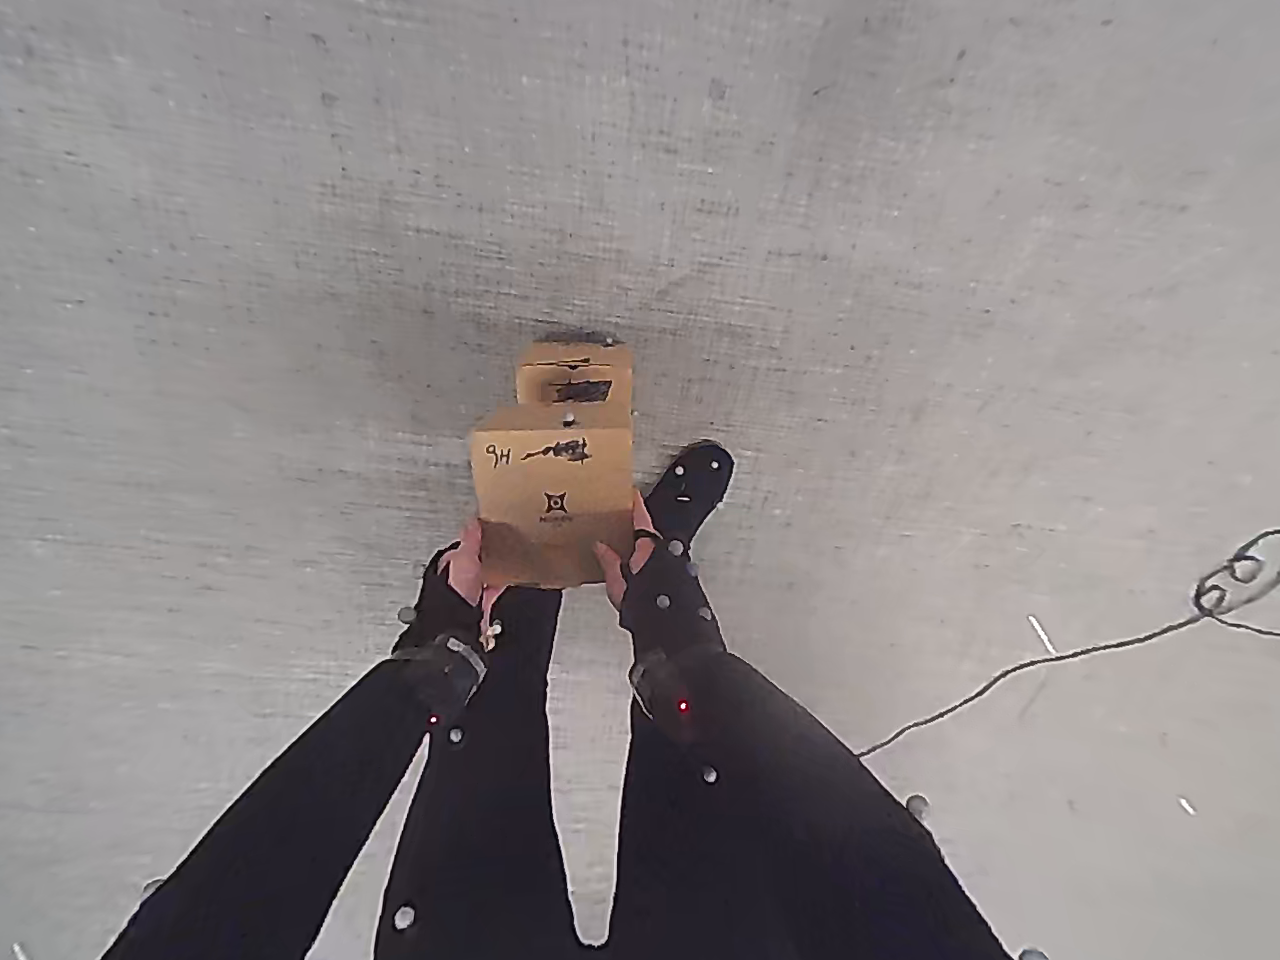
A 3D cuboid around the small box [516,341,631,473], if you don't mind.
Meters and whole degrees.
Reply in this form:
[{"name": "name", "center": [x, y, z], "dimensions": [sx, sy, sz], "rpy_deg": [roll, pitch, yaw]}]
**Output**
[{"name": "small box", "center": [-0.102, -0.123, 0.870], "dimensions": [0.168, 0.176, 0.179], "rpy_deg": [0, 115, -3]}]
